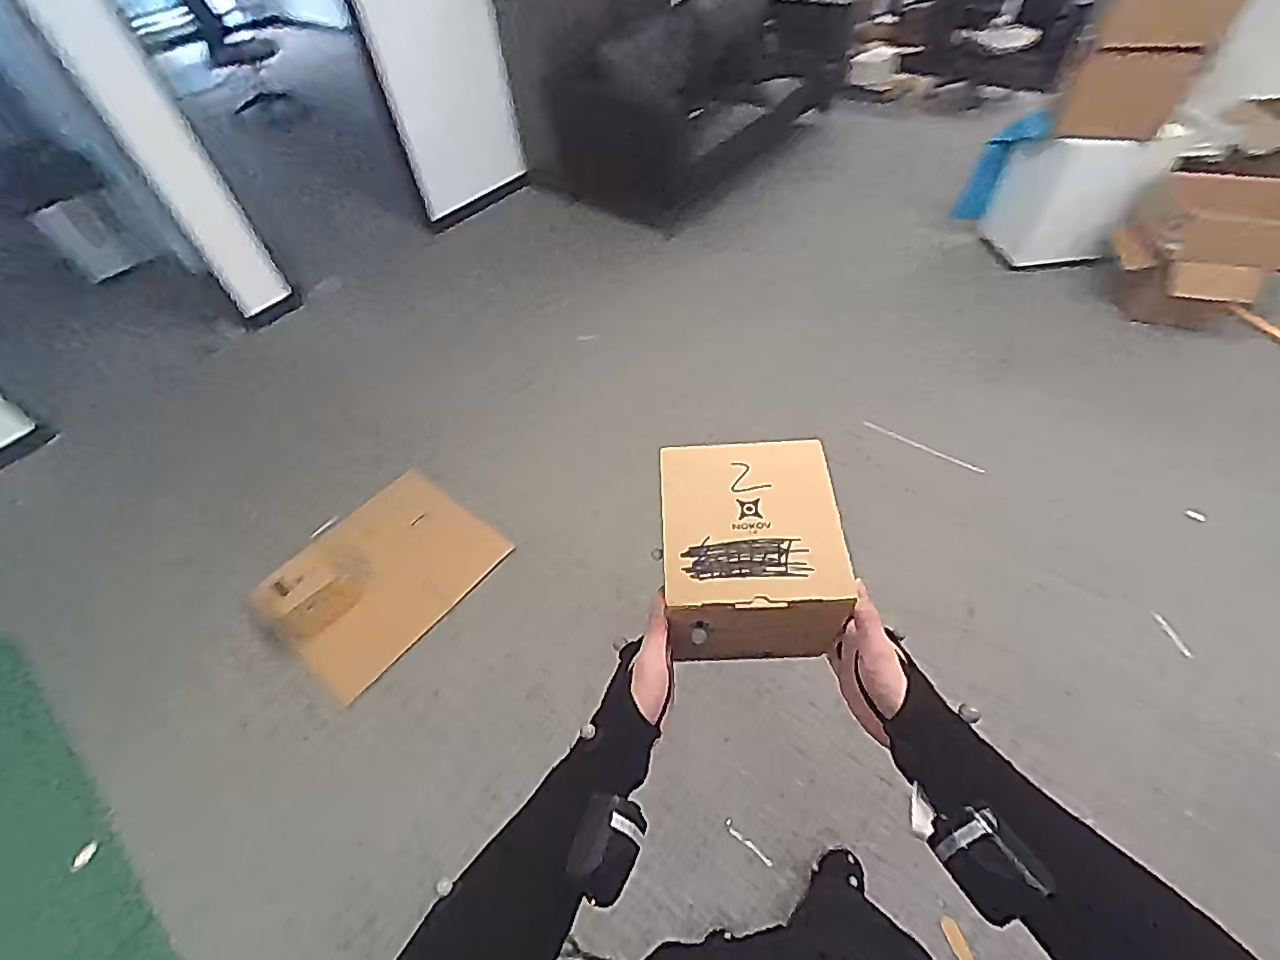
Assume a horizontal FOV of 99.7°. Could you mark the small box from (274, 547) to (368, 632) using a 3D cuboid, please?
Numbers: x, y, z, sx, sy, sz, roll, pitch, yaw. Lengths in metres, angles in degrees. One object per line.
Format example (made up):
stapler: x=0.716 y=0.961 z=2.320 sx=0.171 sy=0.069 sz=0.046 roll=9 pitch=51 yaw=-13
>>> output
small box: x=-1.026 y=0.359 z=1.751 sx=0.168 sy=0.176 sz=0.179 roll=36 pitch=62 yaw=28
